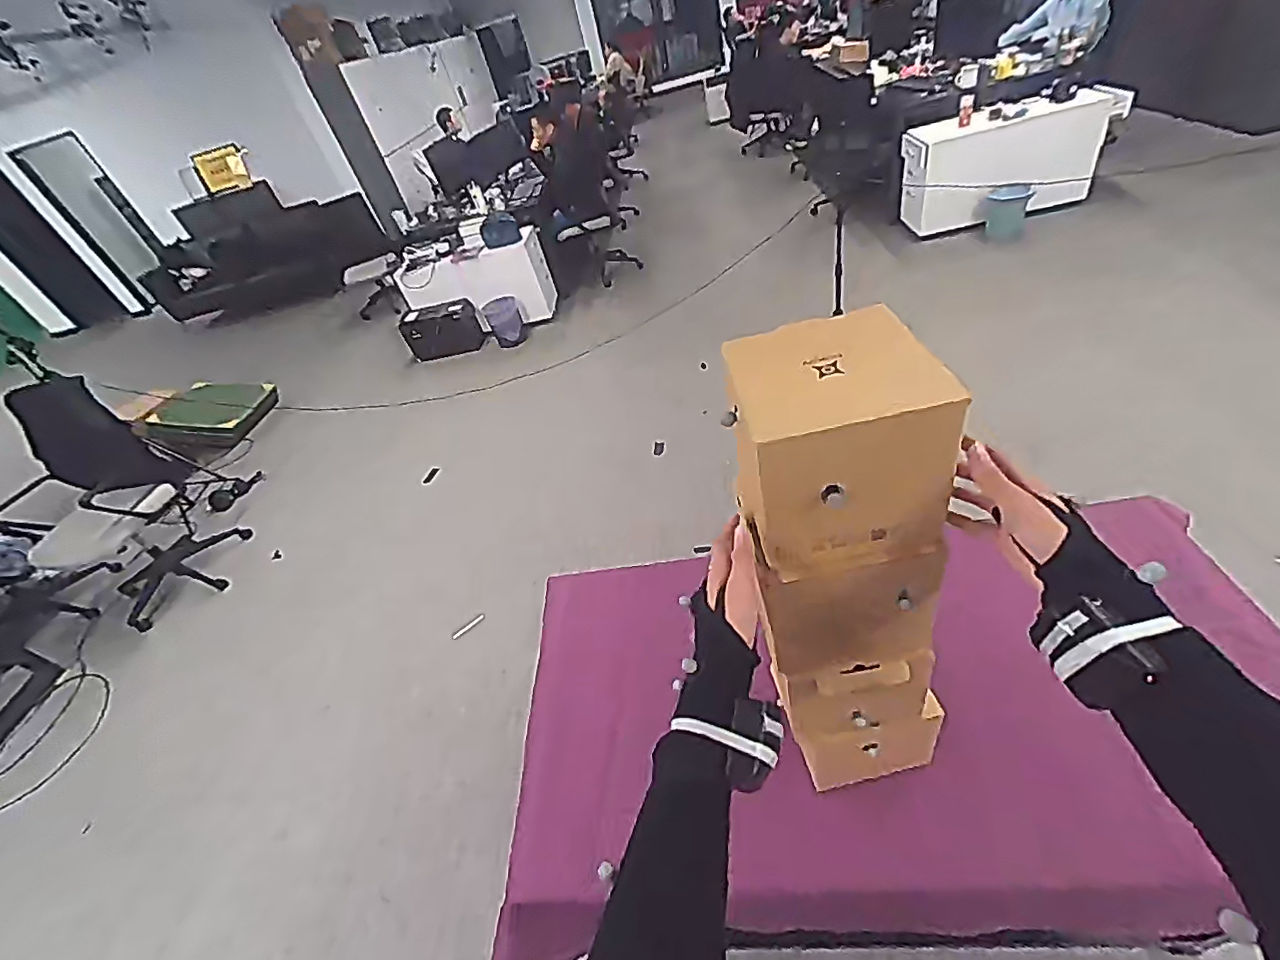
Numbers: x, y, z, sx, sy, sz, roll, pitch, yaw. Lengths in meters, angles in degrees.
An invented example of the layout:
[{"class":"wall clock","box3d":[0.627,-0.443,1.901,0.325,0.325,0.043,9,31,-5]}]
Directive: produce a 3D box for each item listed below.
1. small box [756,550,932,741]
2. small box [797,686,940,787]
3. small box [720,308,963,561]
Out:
[{"class":"small box","box3d":[0.259,0.217,0.721,0.168,0.176,0.179,-13,41,7]},{"class":"small box","box3d":[0.318,0.337,0.819,0.179,0.176,0.168,-15,41,2]},{"class":"small box","box3d":[0.183,-0.038,0.530,0.168,0.176,0.179,-12,40,7]}]
